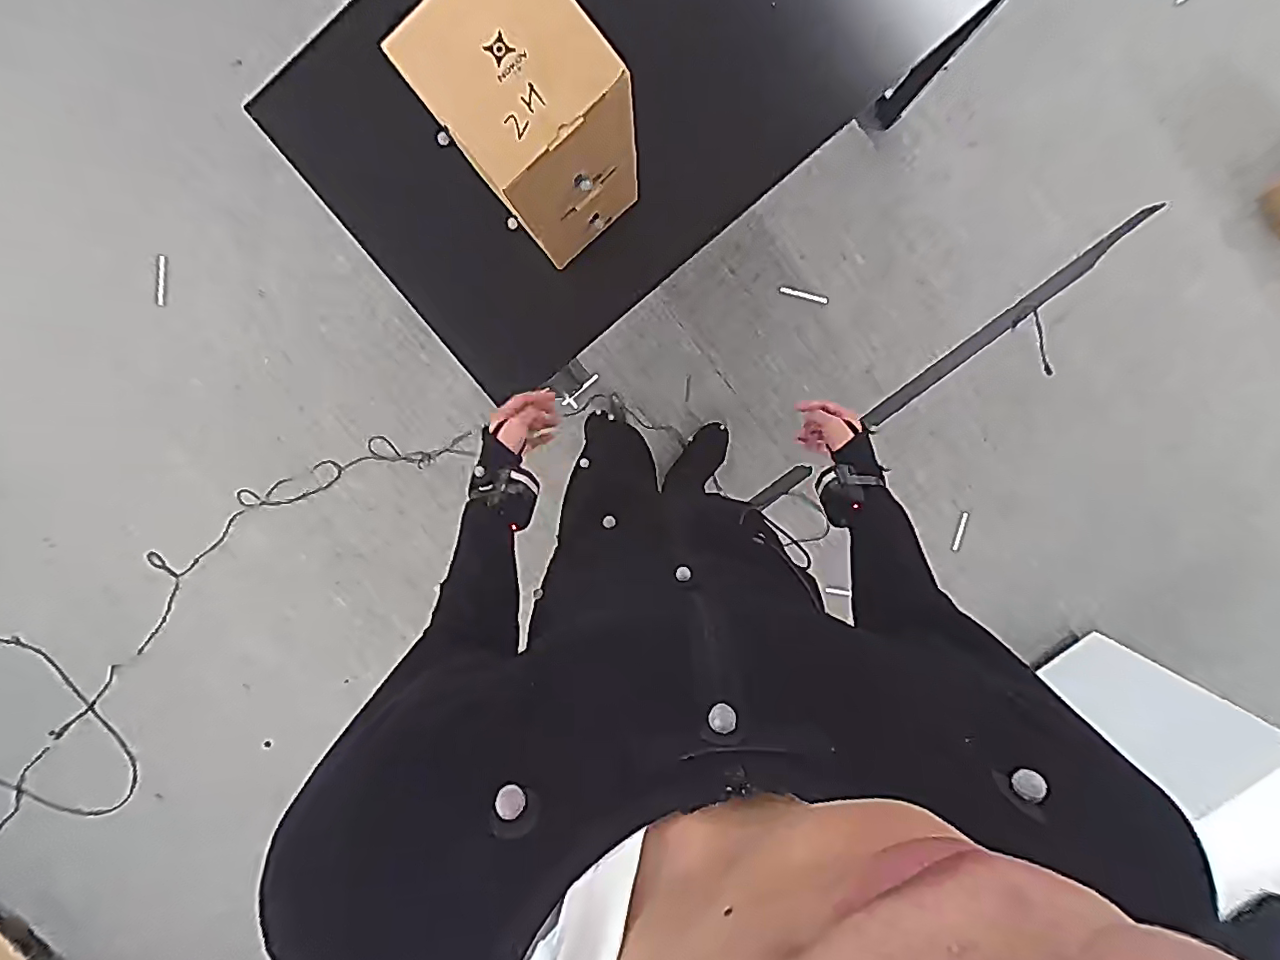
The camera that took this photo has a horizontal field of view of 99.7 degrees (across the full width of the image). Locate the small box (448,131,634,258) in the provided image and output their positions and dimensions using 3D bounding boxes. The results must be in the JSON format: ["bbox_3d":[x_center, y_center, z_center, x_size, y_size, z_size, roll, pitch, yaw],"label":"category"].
[{"bbox_3d":[-0.120,-0.432,0.744,0.168,0.176,0.179,-40,97,6],"label":"small box"}]

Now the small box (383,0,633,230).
[{"bbox_3d":[-0.124,-0.407,0.581,0.168,0.176,0.179,-40,96,7],"label":"small box"}]
